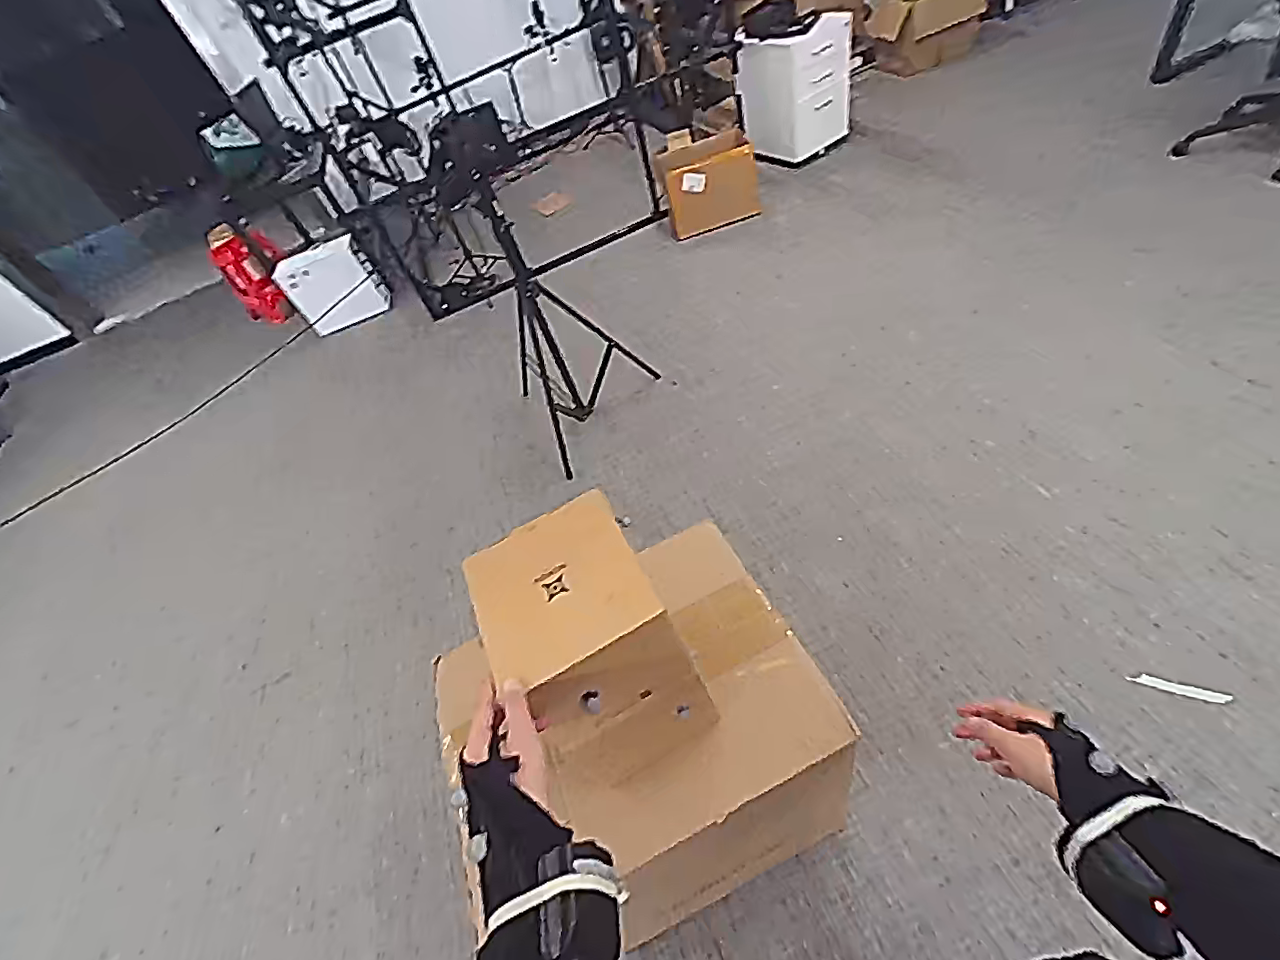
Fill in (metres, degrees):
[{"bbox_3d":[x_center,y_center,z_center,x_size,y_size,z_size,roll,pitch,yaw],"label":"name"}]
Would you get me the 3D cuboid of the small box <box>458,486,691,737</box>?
[{"bbox_3d":[-0.064,0.147,0.575,0.168,0.176,0.179,-29,48,-6],"label":"small box"}]
